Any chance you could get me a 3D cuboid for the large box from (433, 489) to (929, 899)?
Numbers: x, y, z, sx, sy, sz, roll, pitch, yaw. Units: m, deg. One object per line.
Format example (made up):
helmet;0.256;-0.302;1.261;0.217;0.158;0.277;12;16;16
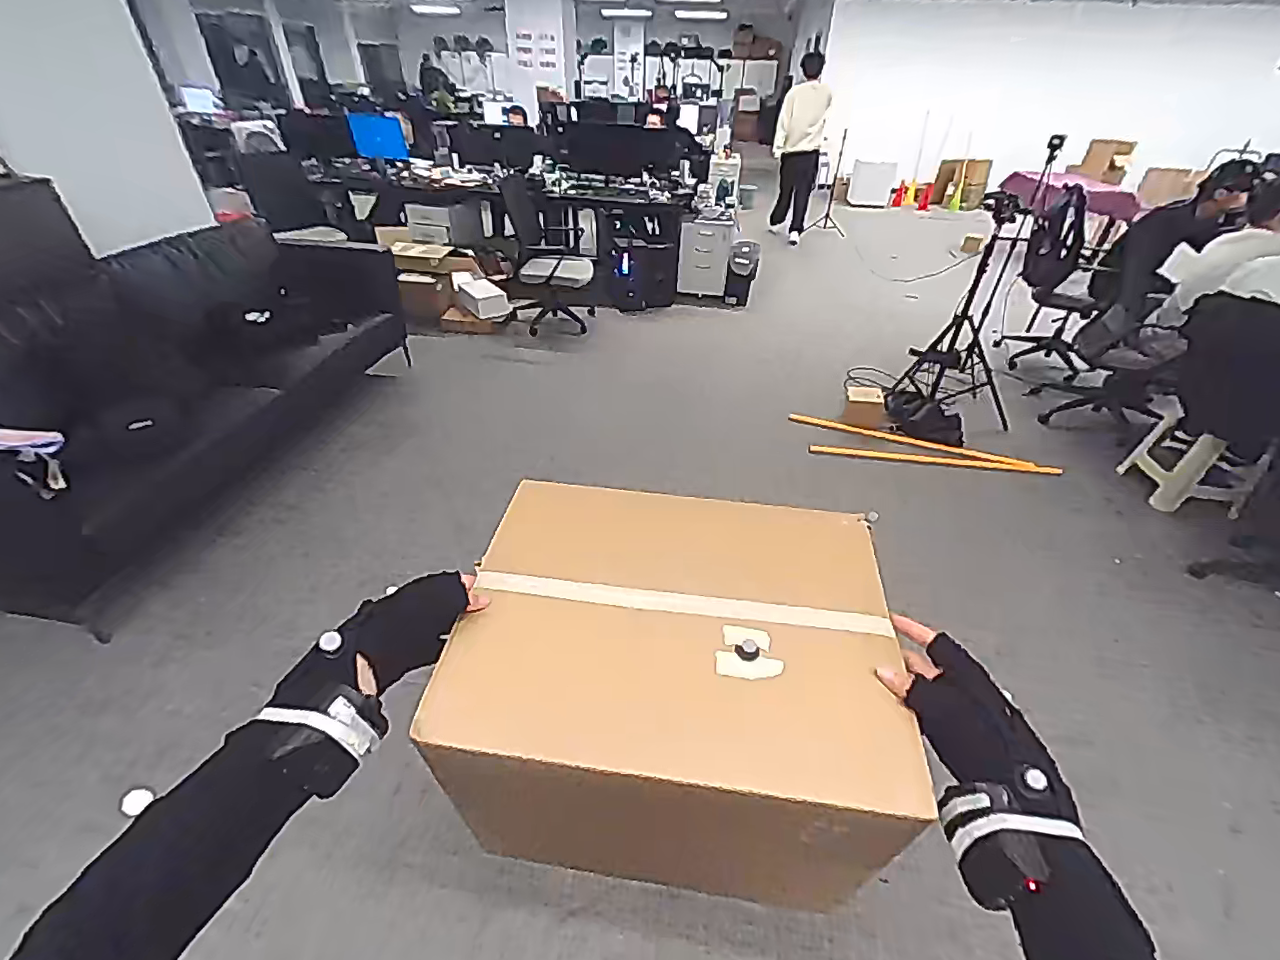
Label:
large box;0.038;0.239;0.632;0.408;0.320;0.320;6;42;5
